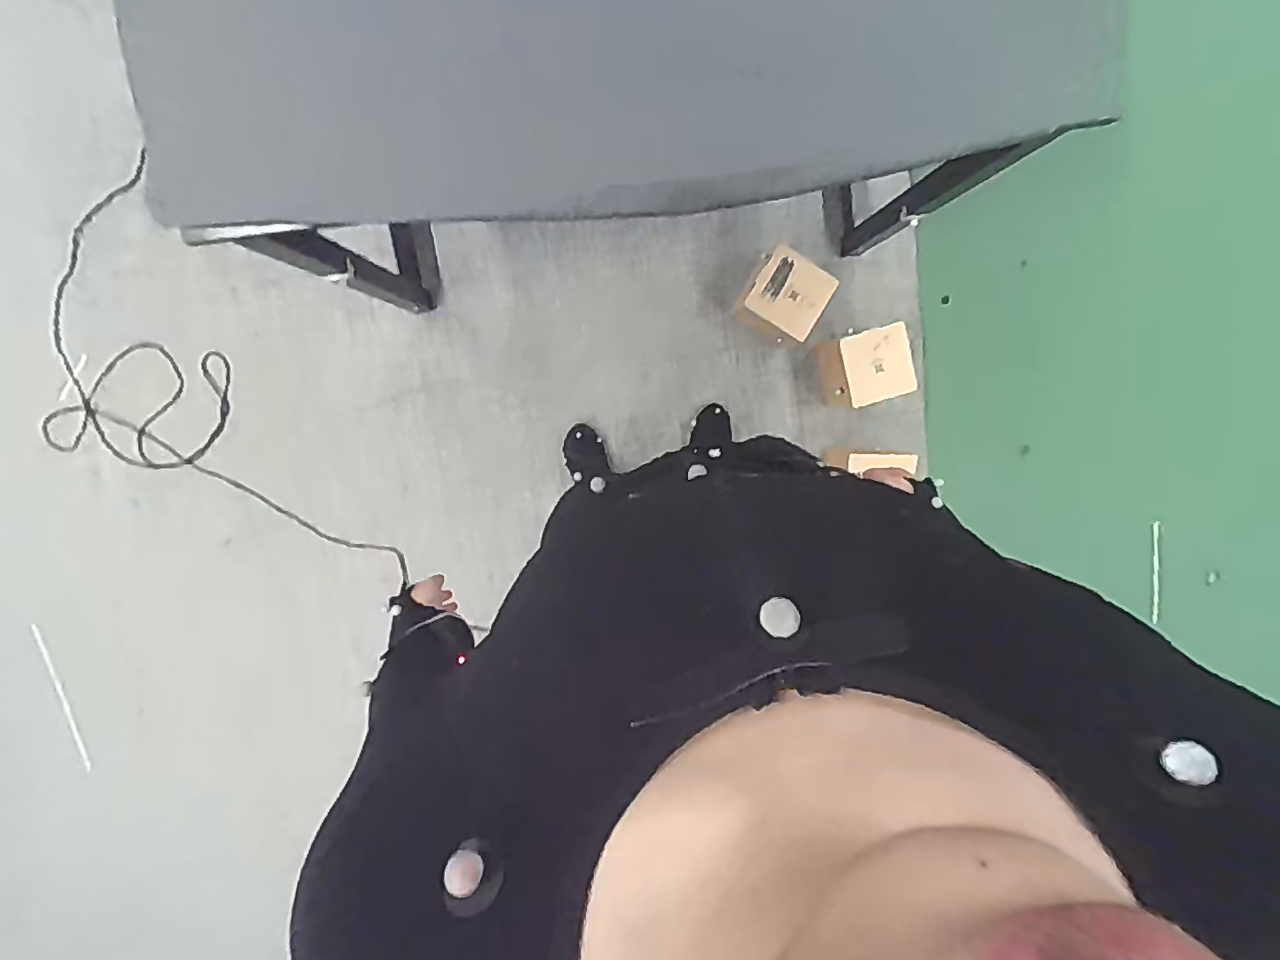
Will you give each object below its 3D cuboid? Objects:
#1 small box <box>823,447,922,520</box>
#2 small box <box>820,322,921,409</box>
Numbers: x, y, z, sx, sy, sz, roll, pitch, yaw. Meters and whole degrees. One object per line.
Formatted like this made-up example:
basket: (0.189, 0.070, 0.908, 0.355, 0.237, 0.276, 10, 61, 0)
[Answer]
small box: (0.602, 0.005, 1.417, 0.179, 0.176, 0.168, 1, 100, -2)
small box: (0.576, -0.287, 1.370, 0.168, 0.176, 0.179, -16, 99, 0)
